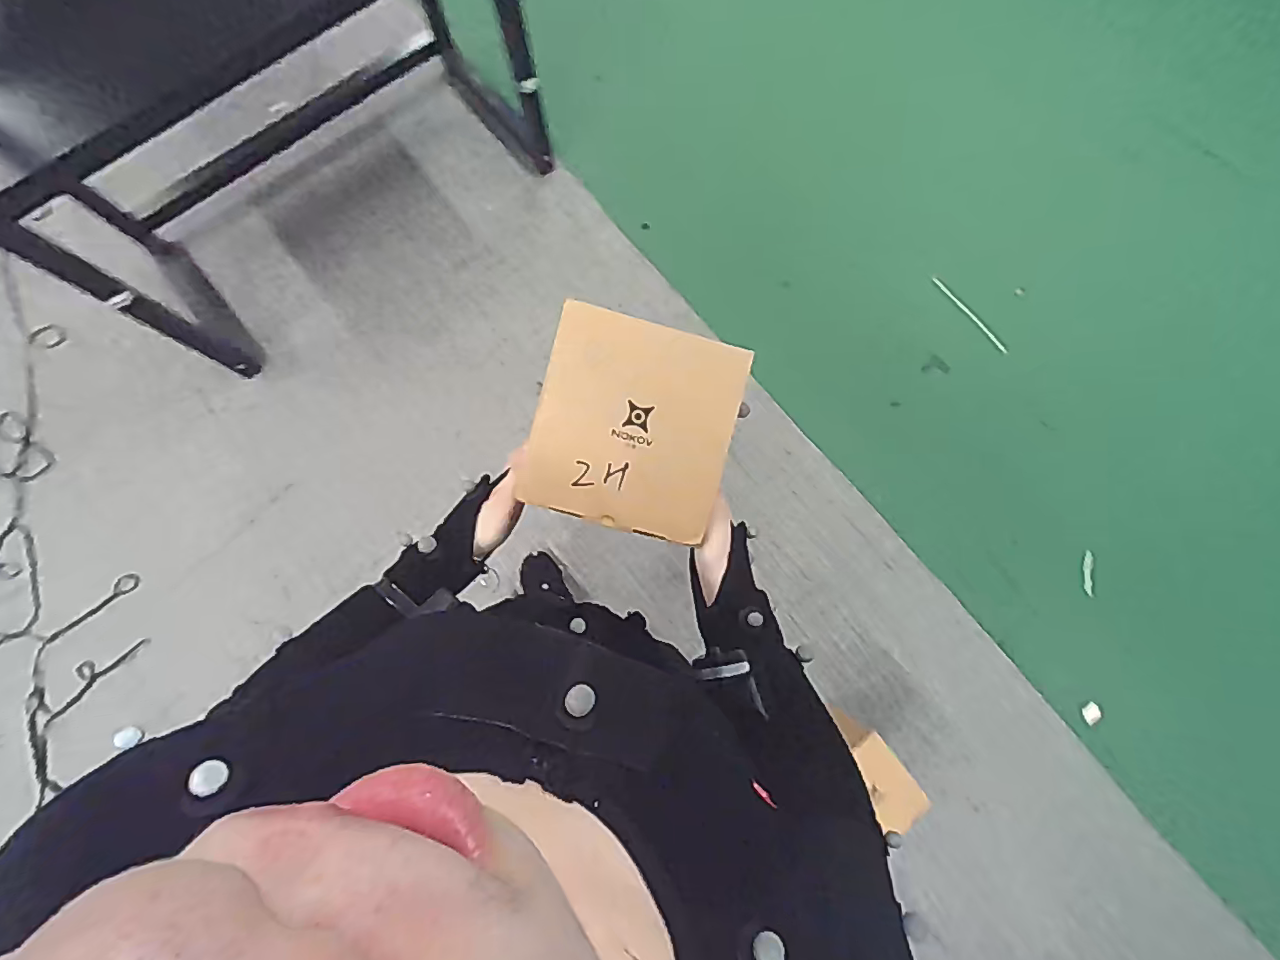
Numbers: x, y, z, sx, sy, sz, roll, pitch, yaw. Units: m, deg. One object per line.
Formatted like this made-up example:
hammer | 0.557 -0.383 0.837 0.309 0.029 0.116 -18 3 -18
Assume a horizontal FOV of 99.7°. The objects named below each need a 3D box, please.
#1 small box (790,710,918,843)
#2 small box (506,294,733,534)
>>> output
small box | 0.469 0.649 1.211 0.168 0.176 0.179 -37 81 -7
small box | -0.022 -0.061 0.547 0.168 0.176 0.179 14 94 -4
